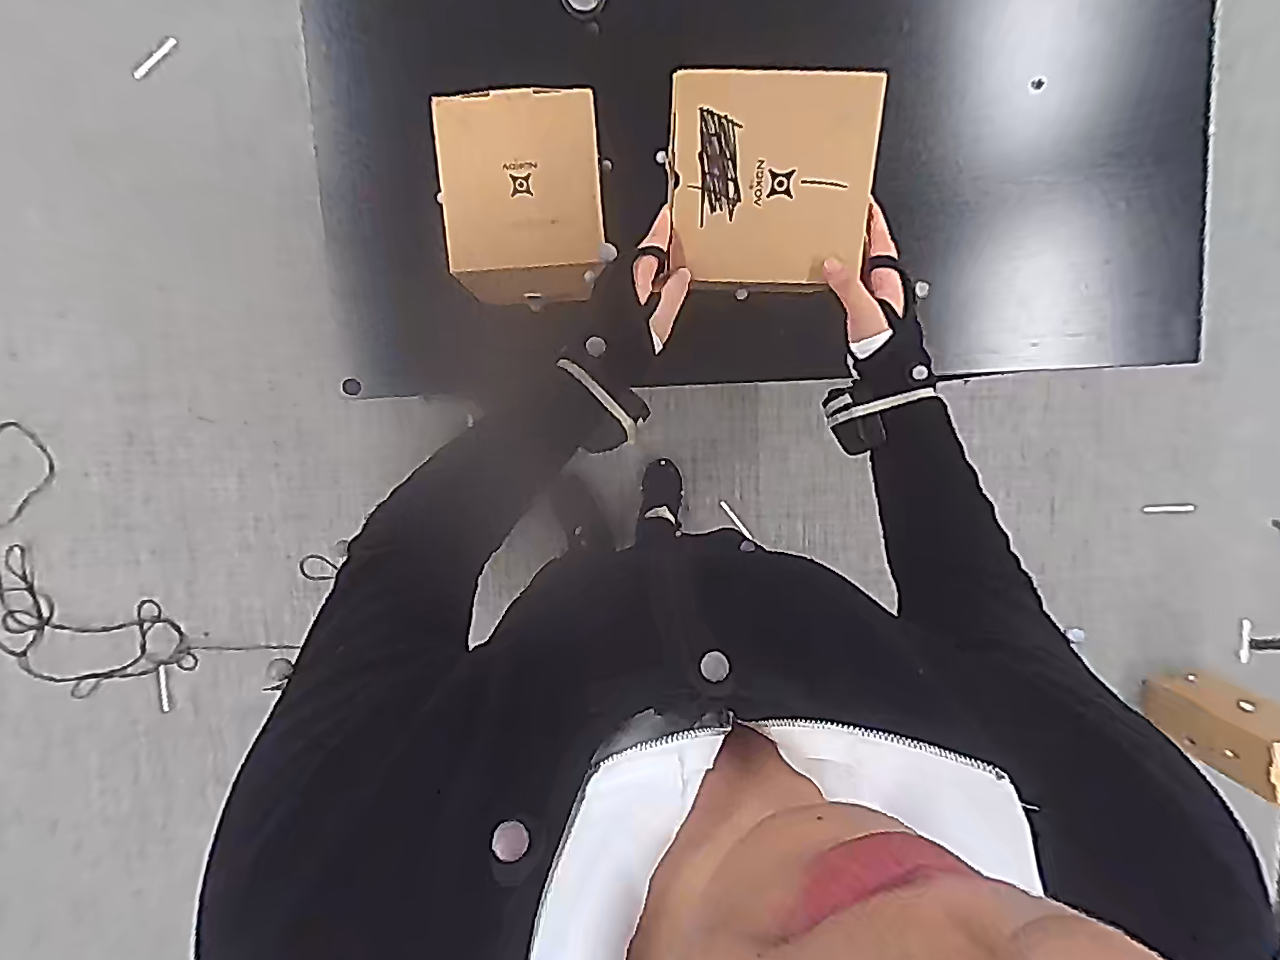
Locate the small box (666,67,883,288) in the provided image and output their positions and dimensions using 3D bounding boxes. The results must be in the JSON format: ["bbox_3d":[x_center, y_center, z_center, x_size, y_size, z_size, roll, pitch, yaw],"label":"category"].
[{"bbox_3d":[0.117,-0.287,0.550,0.179,0.176,0.168,2,107,1],"label":"small box"}]

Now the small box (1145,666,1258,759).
[{"bbox_3d":[1.609,0.662,1.555,0.168,0.176,0.179,-9,96,-2],"label":"small box"}]

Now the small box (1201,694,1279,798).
[{"bbox_3d":[1.608,0.677,1.392,0.179,0.176,0.168,-10,96,-1],"label":"small box"}]

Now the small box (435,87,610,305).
[{"bbox_3d":[-0.125,-0.318,0.637,0.168,0.176,0.179,-6,97,-2],"label":"small box"}]
